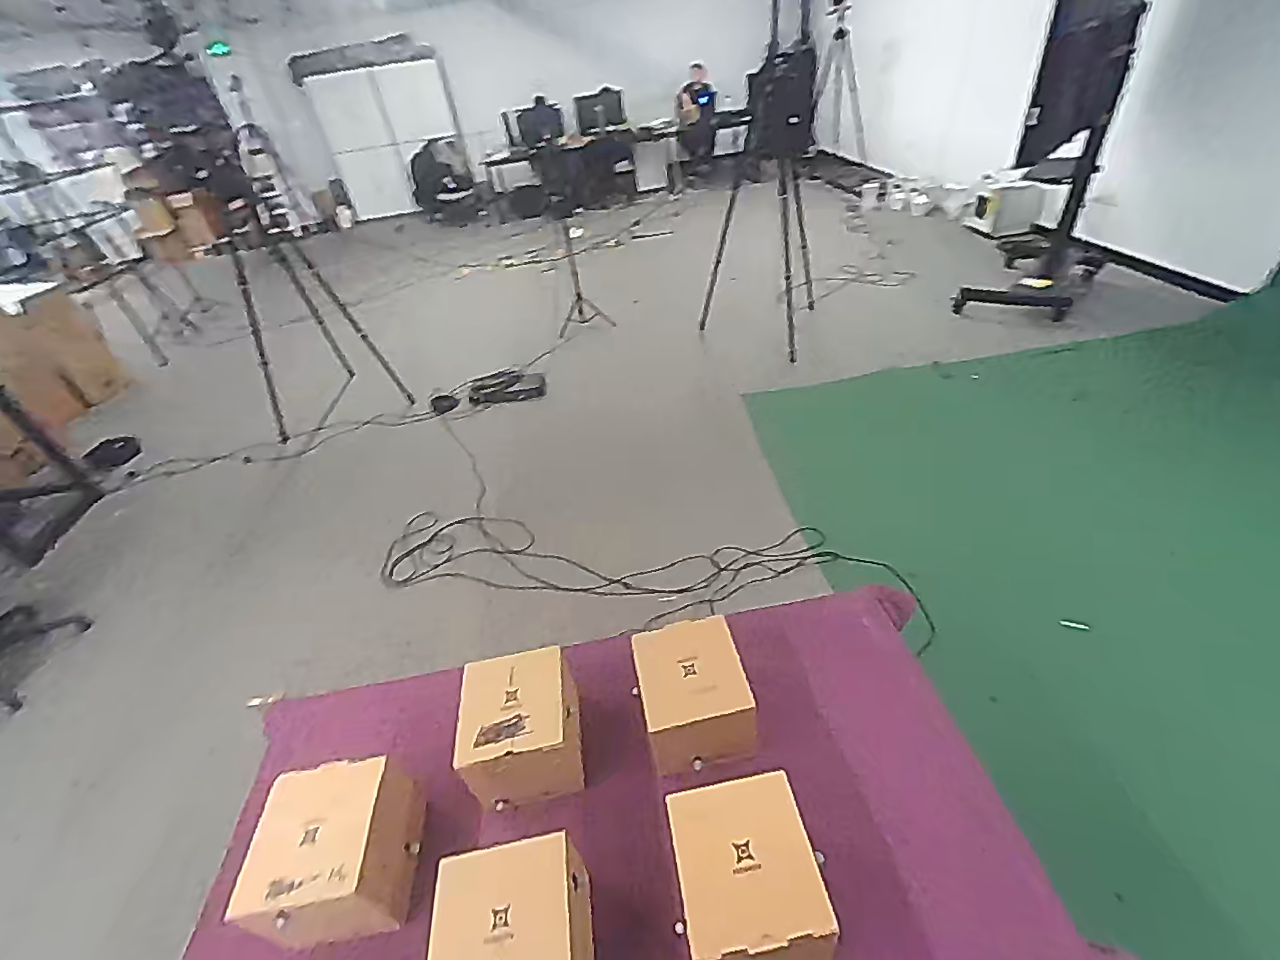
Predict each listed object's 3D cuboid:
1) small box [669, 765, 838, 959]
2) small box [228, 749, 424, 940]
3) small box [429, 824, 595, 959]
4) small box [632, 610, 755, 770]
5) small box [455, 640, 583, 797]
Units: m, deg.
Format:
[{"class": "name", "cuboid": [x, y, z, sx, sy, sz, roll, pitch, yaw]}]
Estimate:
[{"class": "small box", "cuboid": [0.136, 0.512, 0.708, 0.168, 0.176, 0.179, -11, 39, -2]}, {"class": "small box", "cuboid": [-0.435, 0.530, 0.790, 0.168, 0.176, 0.179, -11, 39, 0]}, {"class": "small box", "cuboid": [-0.152, 0.576, 0.681, 0.168, 0.176, 0.179, -11, 38, -3]}, {"class": "small box", "cuboid": [0.087, 0.353, 0.913, 0.168, 0.176, 0.179, -12, 40, -2]}, {"class": "small box", "cuboid": [-0.193, 0.402, 0.903, 0.168, 0.176, 0.179, -11, 39, -3]}]
